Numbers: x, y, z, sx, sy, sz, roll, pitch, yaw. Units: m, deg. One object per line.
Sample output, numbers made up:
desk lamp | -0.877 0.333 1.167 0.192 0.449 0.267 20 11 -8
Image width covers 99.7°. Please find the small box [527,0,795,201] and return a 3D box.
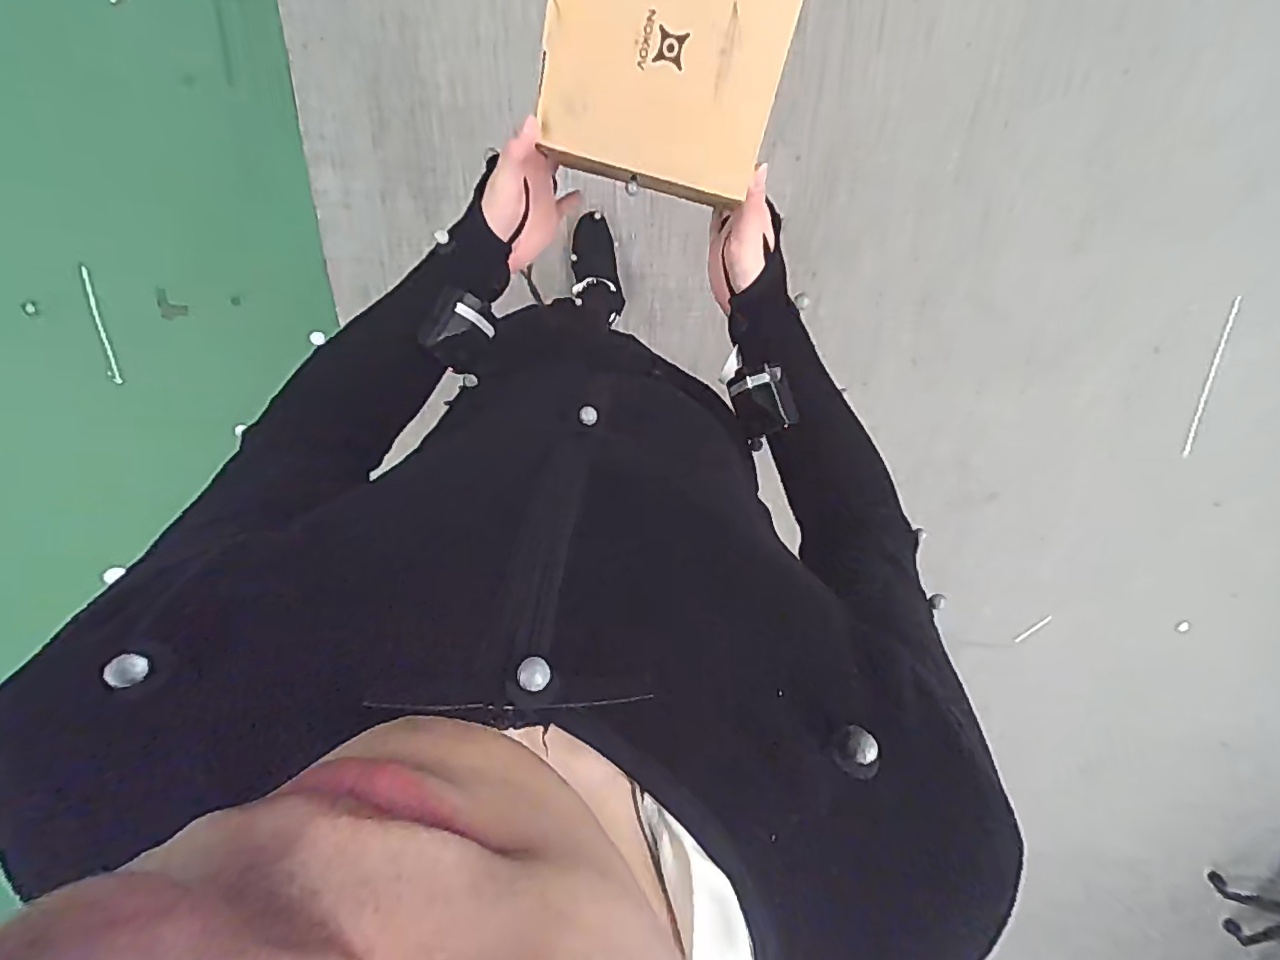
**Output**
small box | 0.018 -0.351 0.467 0.179 0.176 0.168 14 115 -4
